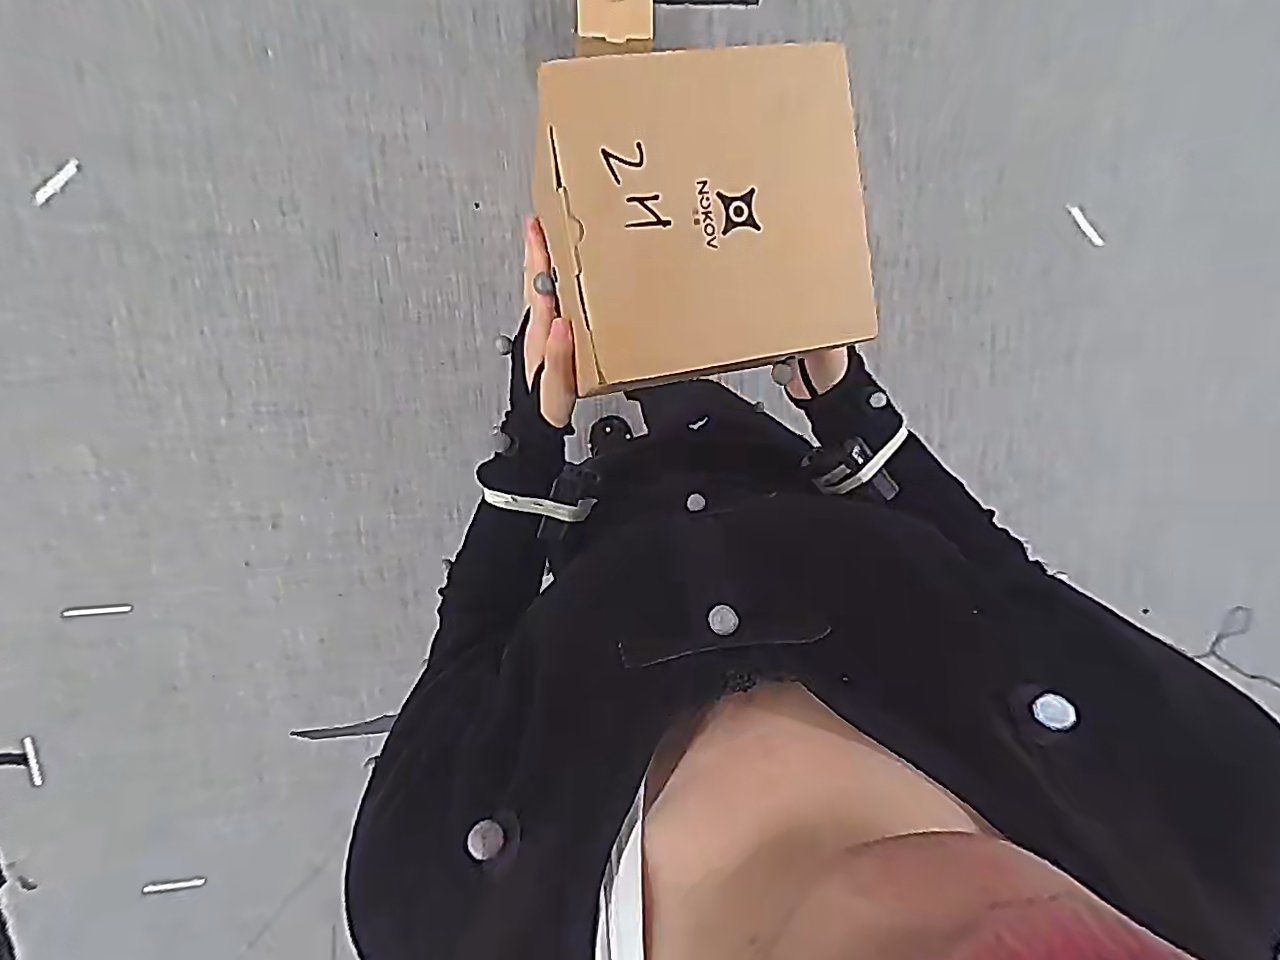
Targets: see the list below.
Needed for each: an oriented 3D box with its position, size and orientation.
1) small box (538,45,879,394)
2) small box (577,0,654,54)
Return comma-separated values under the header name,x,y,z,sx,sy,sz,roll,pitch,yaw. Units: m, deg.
name,x,y,z,sx,sy,sz,roll,pitch,yaw
small box,0.032,-0.158,0.377,0.179,0.176,0.168,-12,98,-11
small box,-0.060,-1.051,1.241,0.168,0.176,0.179,-2,100,-7
